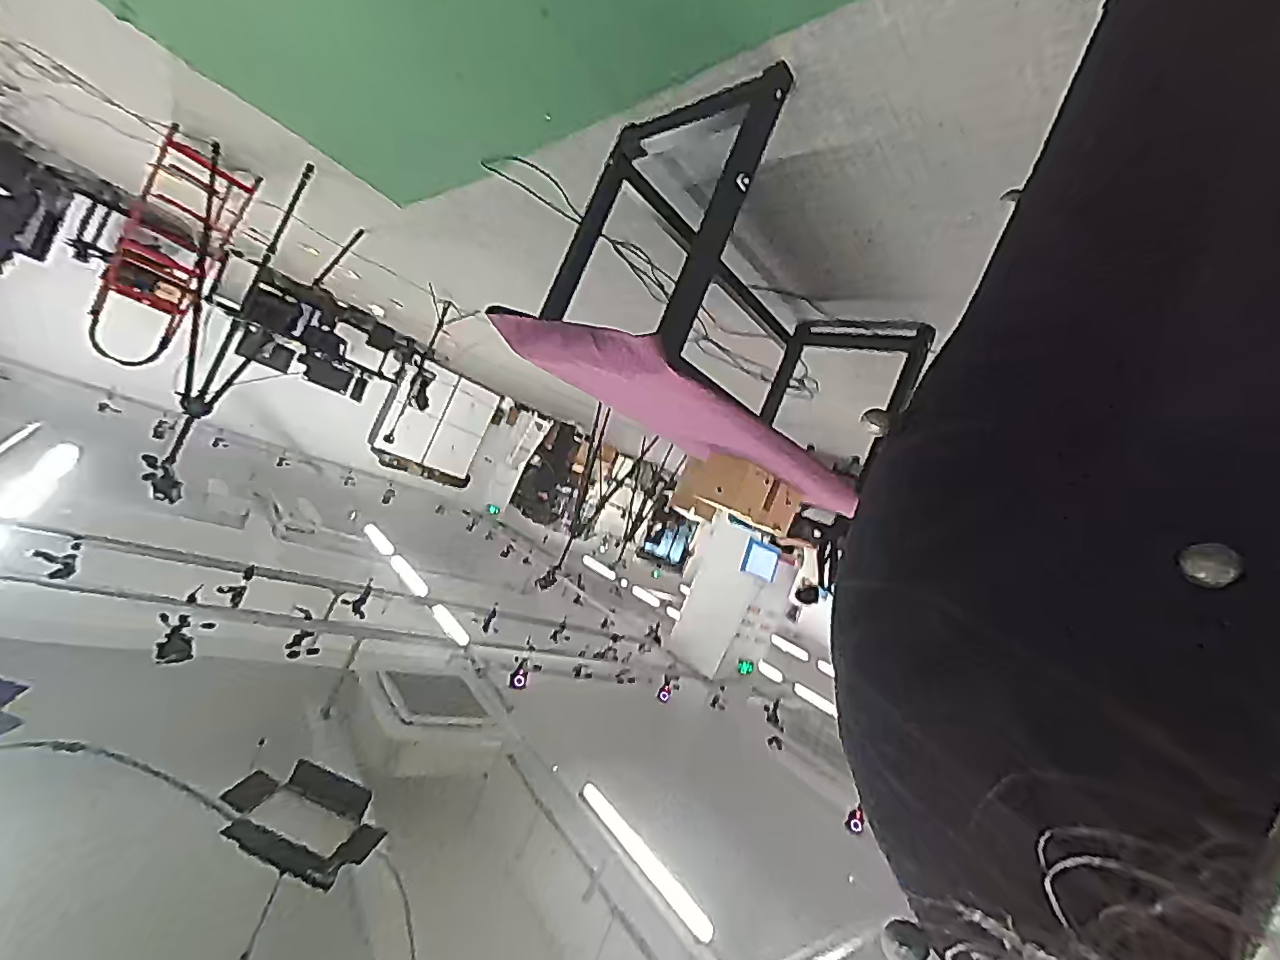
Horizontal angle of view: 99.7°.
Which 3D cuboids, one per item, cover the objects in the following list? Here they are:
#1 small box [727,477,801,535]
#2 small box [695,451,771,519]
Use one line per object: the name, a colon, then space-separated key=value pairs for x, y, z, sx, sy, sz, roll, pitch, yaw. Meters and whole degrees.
small box: x=0.459 y=0.080 z=1.986 sx=0.168 sy=0.176 sz=0.179 roll=25 pitch=177 yaw=-44
small box: x=0.322 y=0.012 z=1.836 sx=0.179 sy=0.176 sz=0.168 roll=22 pitch=177 yaw=46
